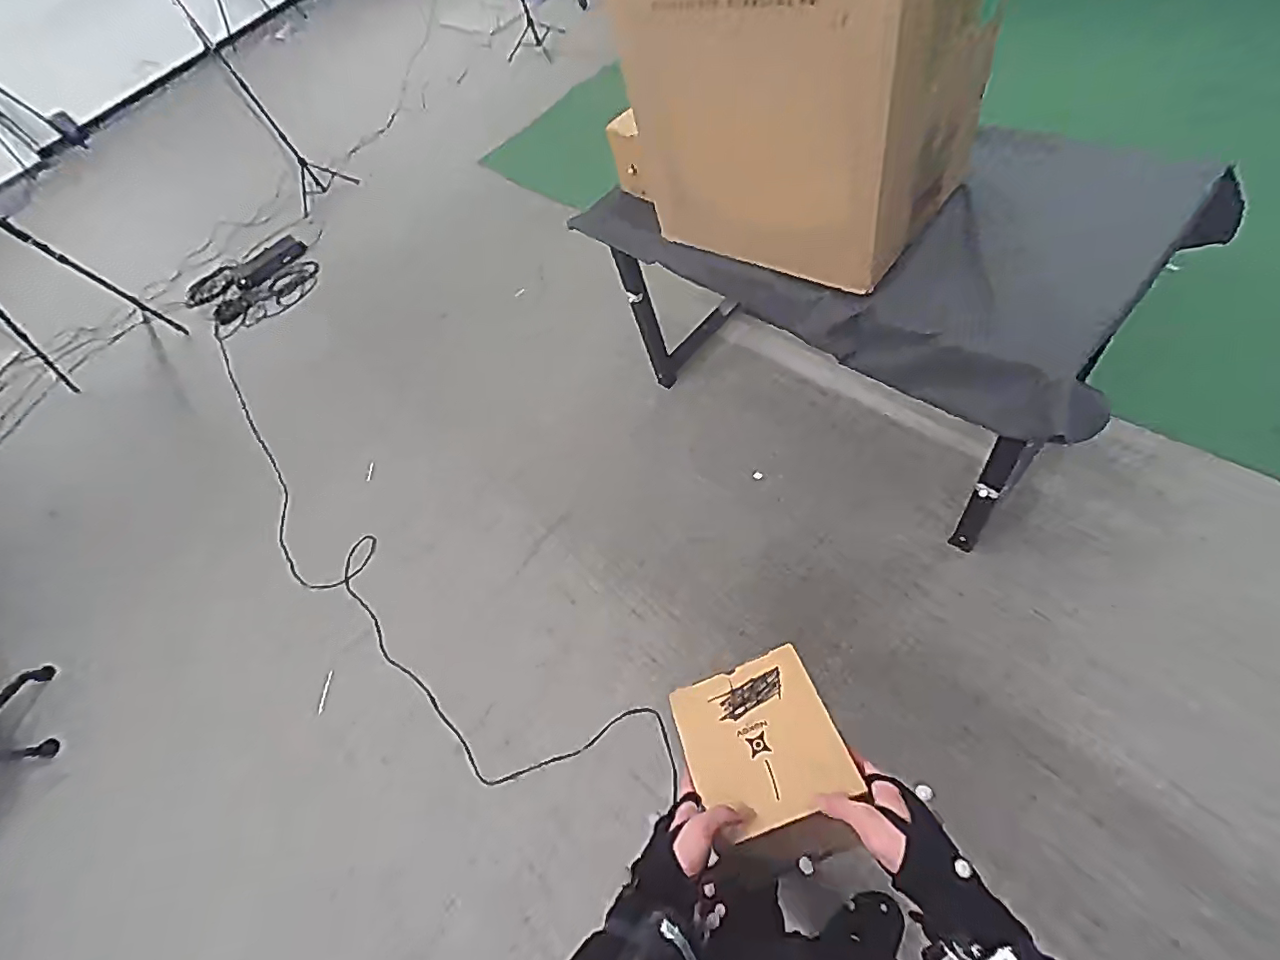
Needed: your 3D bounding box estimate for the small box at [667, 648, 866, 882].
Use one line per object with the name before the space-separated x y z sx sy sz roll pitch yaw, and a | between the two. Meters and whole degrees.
small box | 0.150 0.344 0.654 0.168 0.176 0.179 -24 40 4
